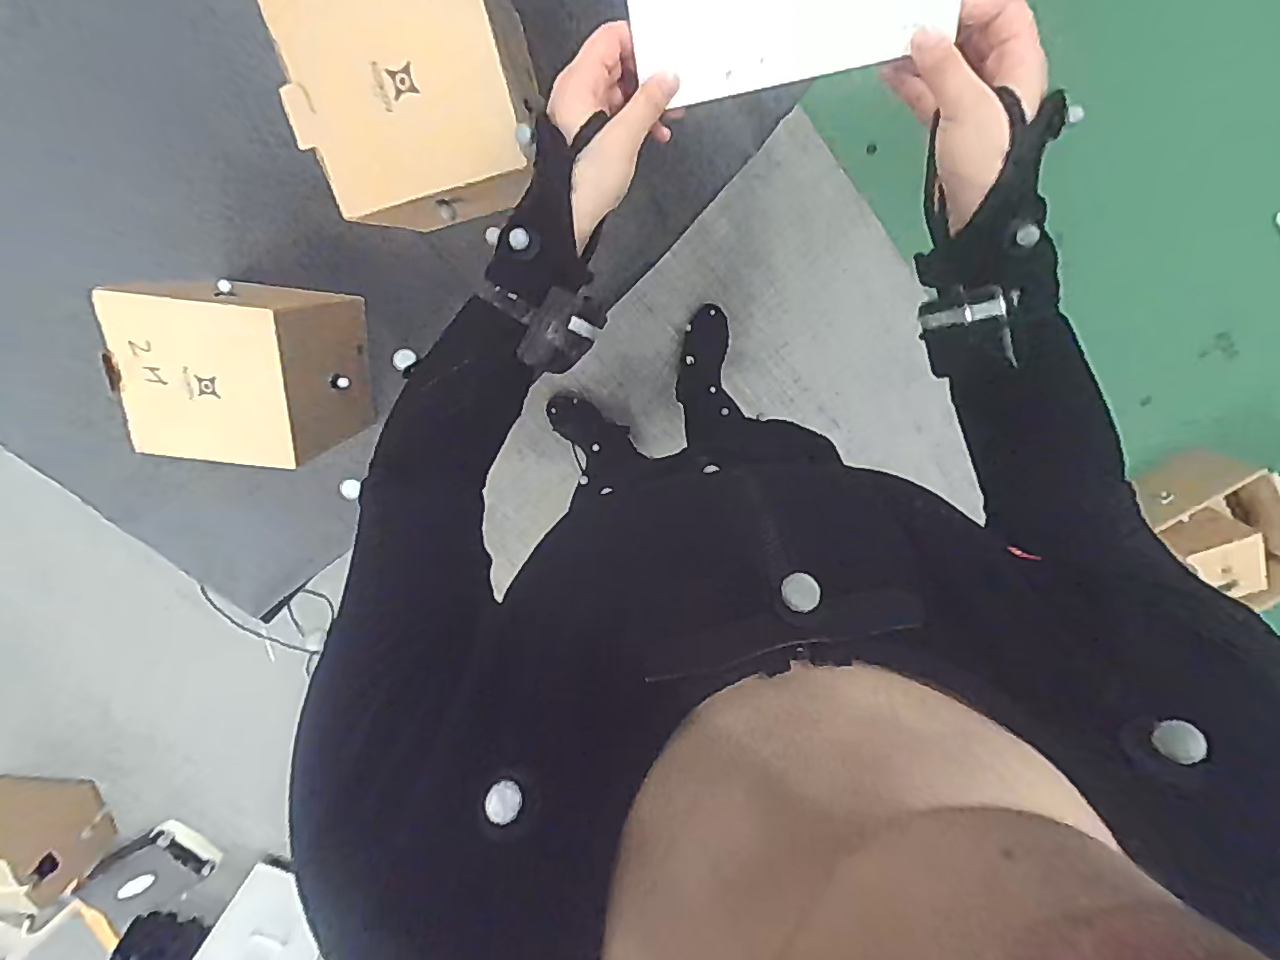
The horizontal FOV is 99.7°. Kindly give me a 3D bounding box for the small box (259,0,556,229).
[{"bbox_3d":[-0.188,-0.345,0.506,0.179,0.176,0.168,-11,111,9],"label":"small box"}]

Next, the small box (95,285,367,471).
[{"bbox_3d":[-0.430,-0.123,0.610,0.179,0.176,0.168,7,112,0],"label":"small box"}]

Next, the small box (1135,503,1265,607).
[{"bbox_3d":[1.434,0.190,1.392,0.168,0.176,0.179,-24,110,13],"label":"small box"}]
